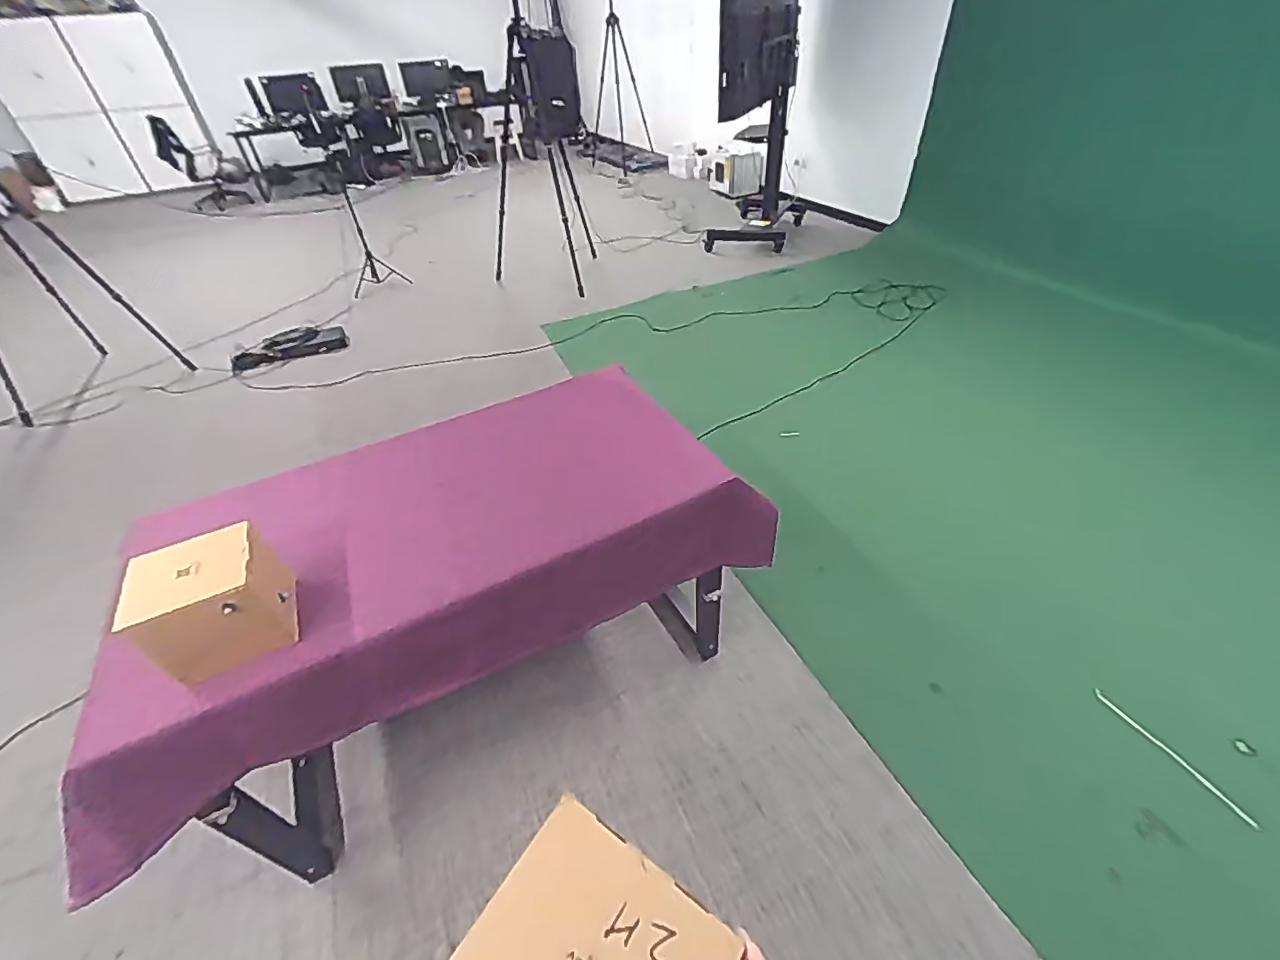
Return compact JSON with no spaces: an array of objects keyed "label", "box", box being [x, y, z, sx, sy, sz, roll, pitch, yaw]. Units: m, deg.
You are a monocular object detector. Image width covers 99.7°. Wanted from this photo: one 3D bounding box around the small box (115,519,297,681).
[{"label":"small box","box":[-0.707,0.201,0.905,0.179,0.176,0.168,-21,43,-20]}]
